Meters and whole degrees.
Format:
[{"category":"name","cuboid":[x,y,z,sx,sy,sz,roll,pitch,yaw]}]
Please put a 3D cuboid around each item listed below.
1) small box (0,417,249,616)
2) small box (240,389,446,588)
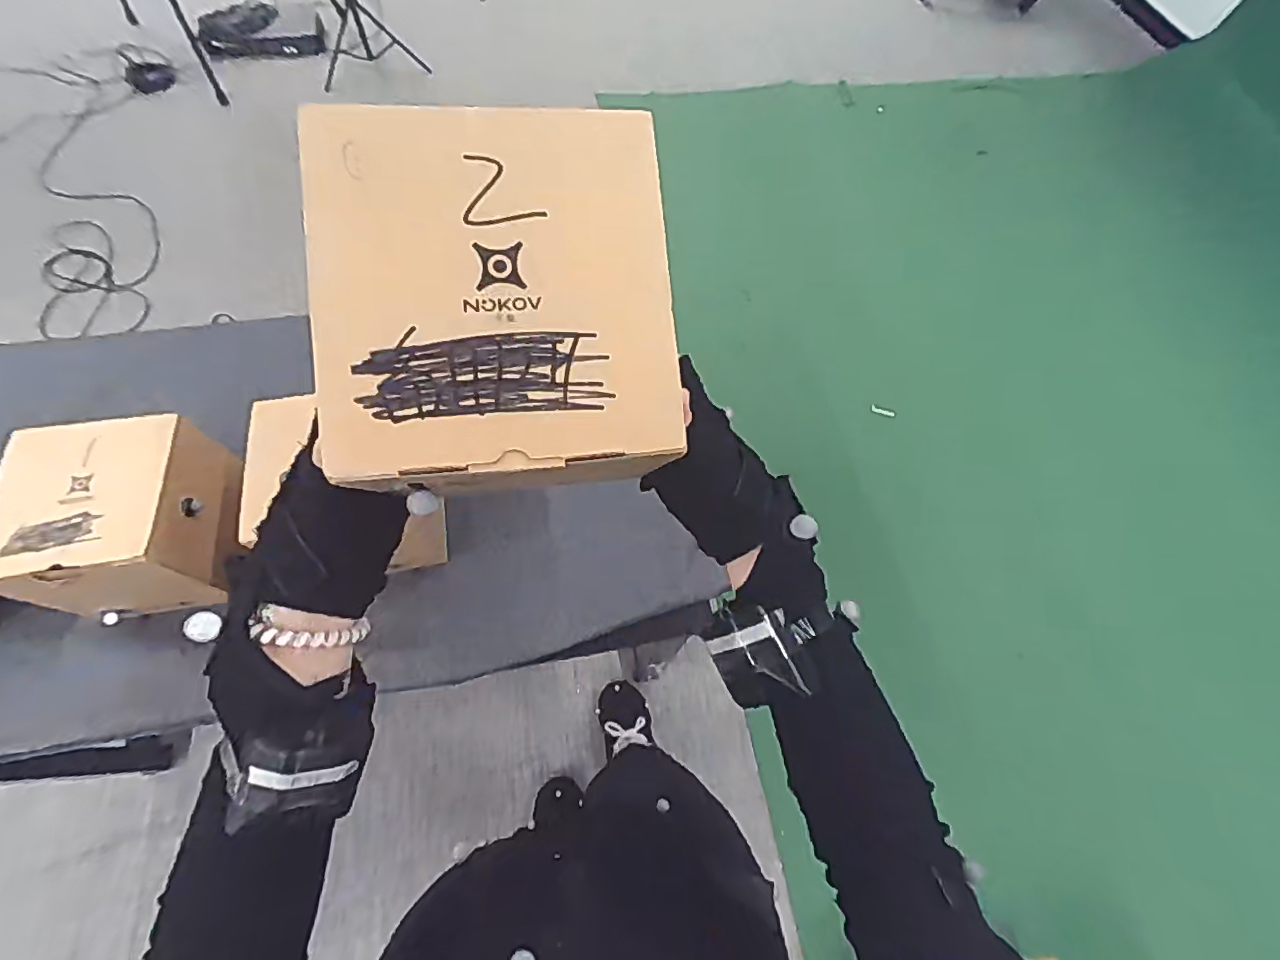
[{"category":"small box","cuboid":[-0.582,0.052,0.629,0.168,0.176,0.179,-7,64,-8]},{"category":"small box","cuboid":[-0.345,0.015,0.663,0.168,0.176,0.179,-9,65,-8]}]
